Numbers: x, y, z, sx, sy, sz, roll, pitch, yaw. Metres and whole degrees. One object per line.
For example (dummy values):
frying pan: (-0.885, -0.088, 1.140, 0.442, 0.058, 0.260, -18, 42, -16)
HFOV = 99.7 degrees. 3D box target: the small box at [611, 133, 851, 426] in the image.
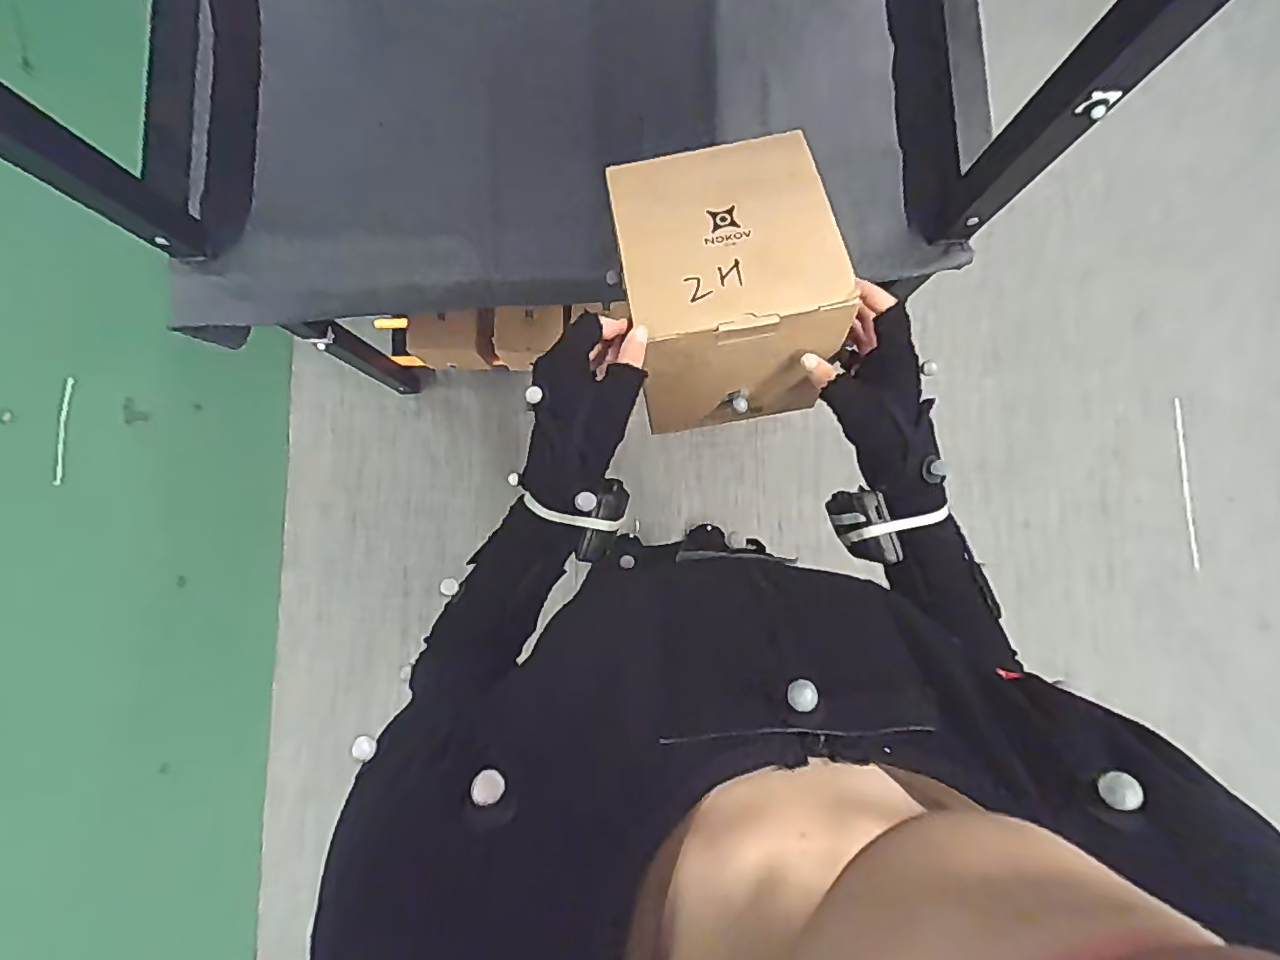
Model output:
small box: (0.071, -0.173, 0.502, 0.168, 0.176, 0.179, -9, 69, 3)
